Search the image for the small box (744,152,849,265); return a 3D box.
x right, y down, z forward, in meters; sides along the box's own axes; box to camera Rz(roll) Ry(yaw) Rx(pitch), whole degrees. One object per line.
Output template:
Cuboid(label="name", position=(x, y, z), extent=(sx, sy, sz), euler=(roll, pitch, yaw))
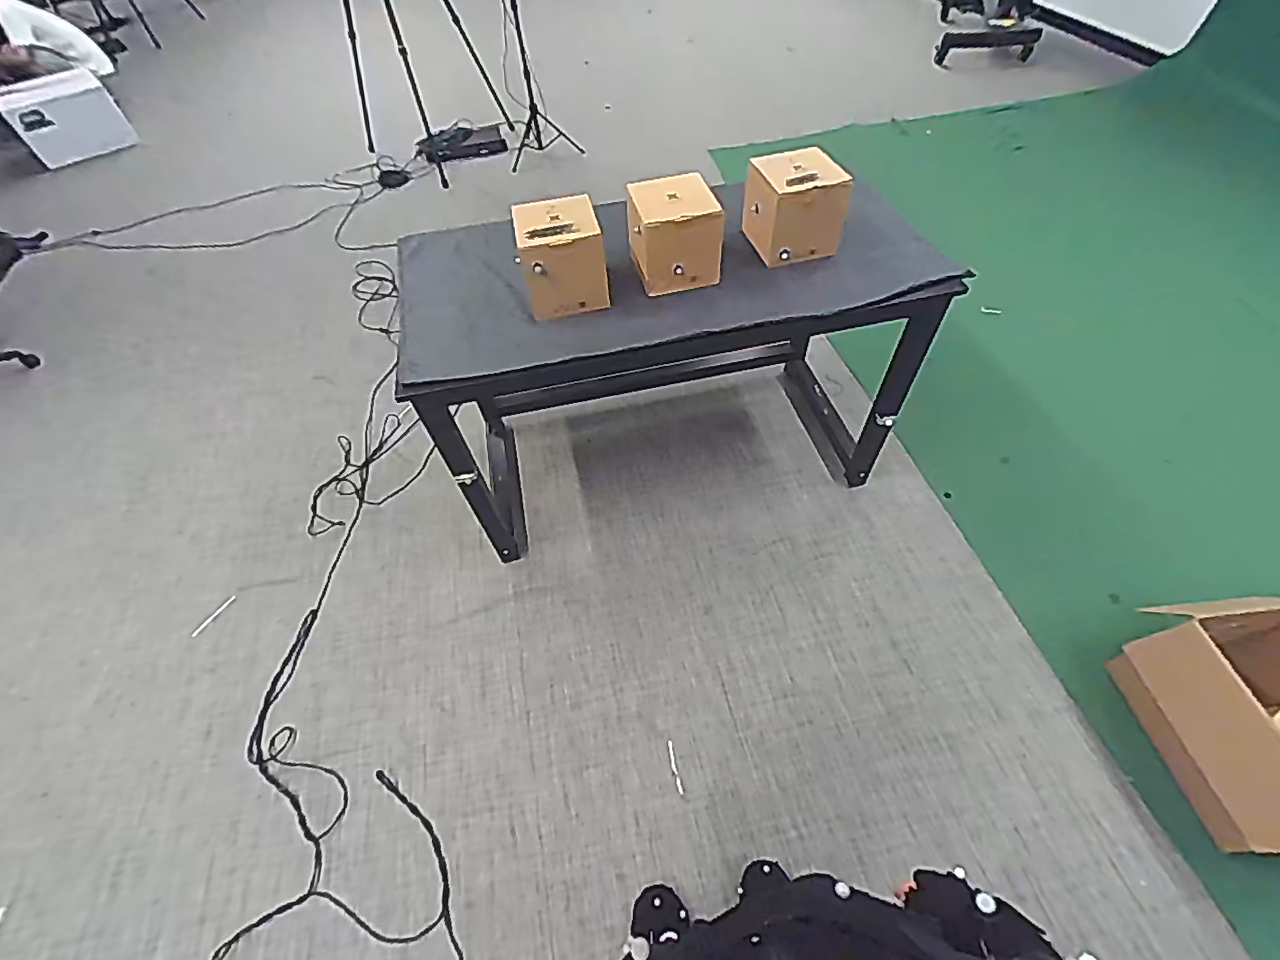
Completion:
Cuboid(label="small box", position=(0.344, -0.607, 1.225), extent=(0.168, 0.176, 0.179), euler=(-13, 53, -6))

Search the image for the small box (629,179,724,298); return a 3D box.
Cuboid(label="small box", position=(0.074, -0.531, 1.192), extent=(0.168, 0.176, 0.179), euler=(-13, 54, -6))
